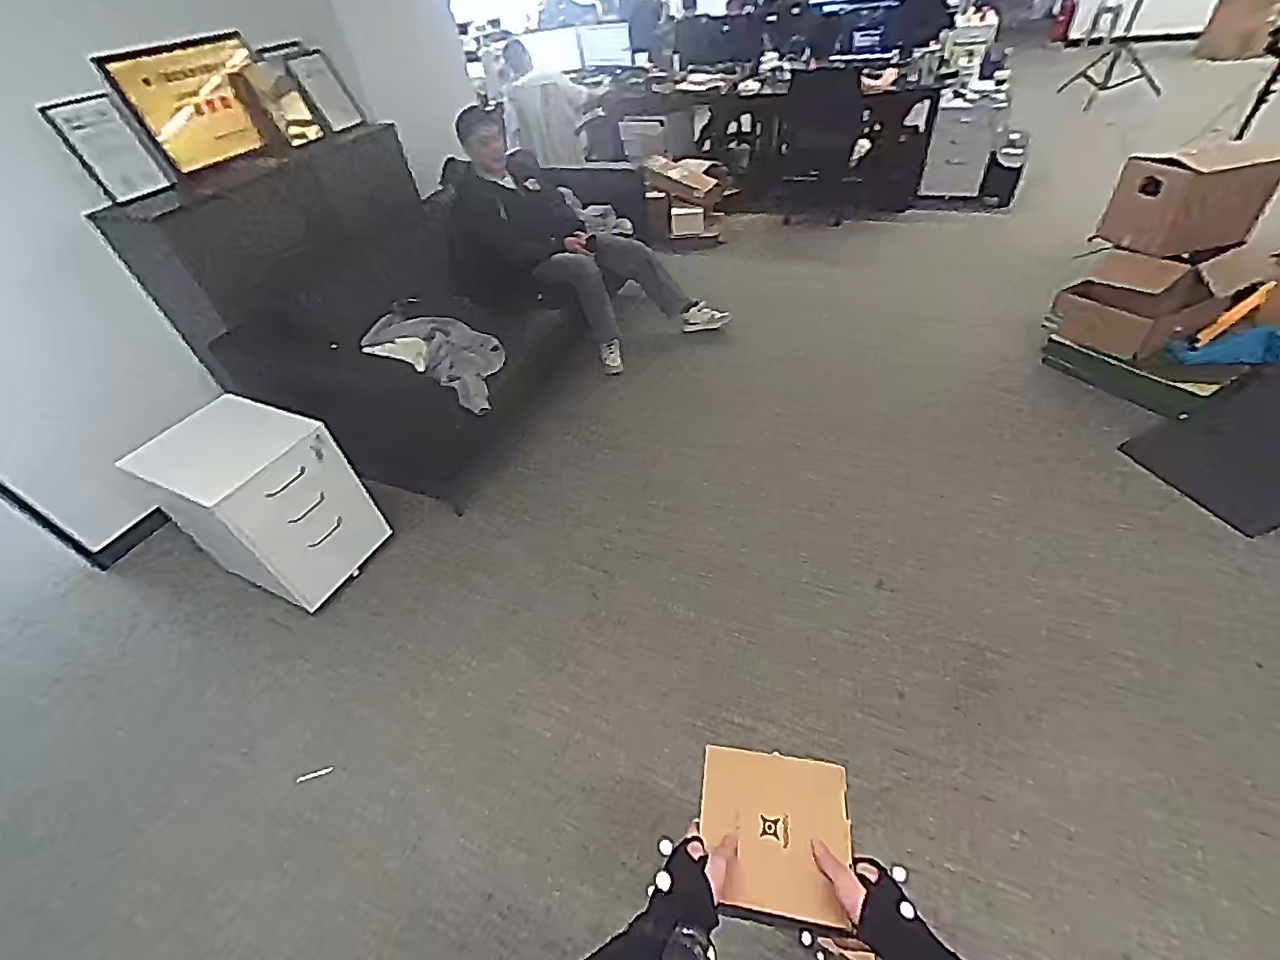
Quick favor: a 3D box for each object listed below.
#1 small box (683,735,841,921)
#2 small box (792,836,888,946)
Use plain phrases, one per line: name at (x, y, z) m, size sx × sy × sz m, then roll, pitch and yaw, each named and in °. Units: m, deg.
small box at (0.159, 0.460, 0.713) m, size 0.179 × 0.176 × 0.168 m, roll 2°, pitch 48°, yaw 14°
small box at (0.415, 0.891, 1.173) m, size 0.179 × 0.176 × 0.168 m, roll -5°, pitch 42°, yaw 7°
